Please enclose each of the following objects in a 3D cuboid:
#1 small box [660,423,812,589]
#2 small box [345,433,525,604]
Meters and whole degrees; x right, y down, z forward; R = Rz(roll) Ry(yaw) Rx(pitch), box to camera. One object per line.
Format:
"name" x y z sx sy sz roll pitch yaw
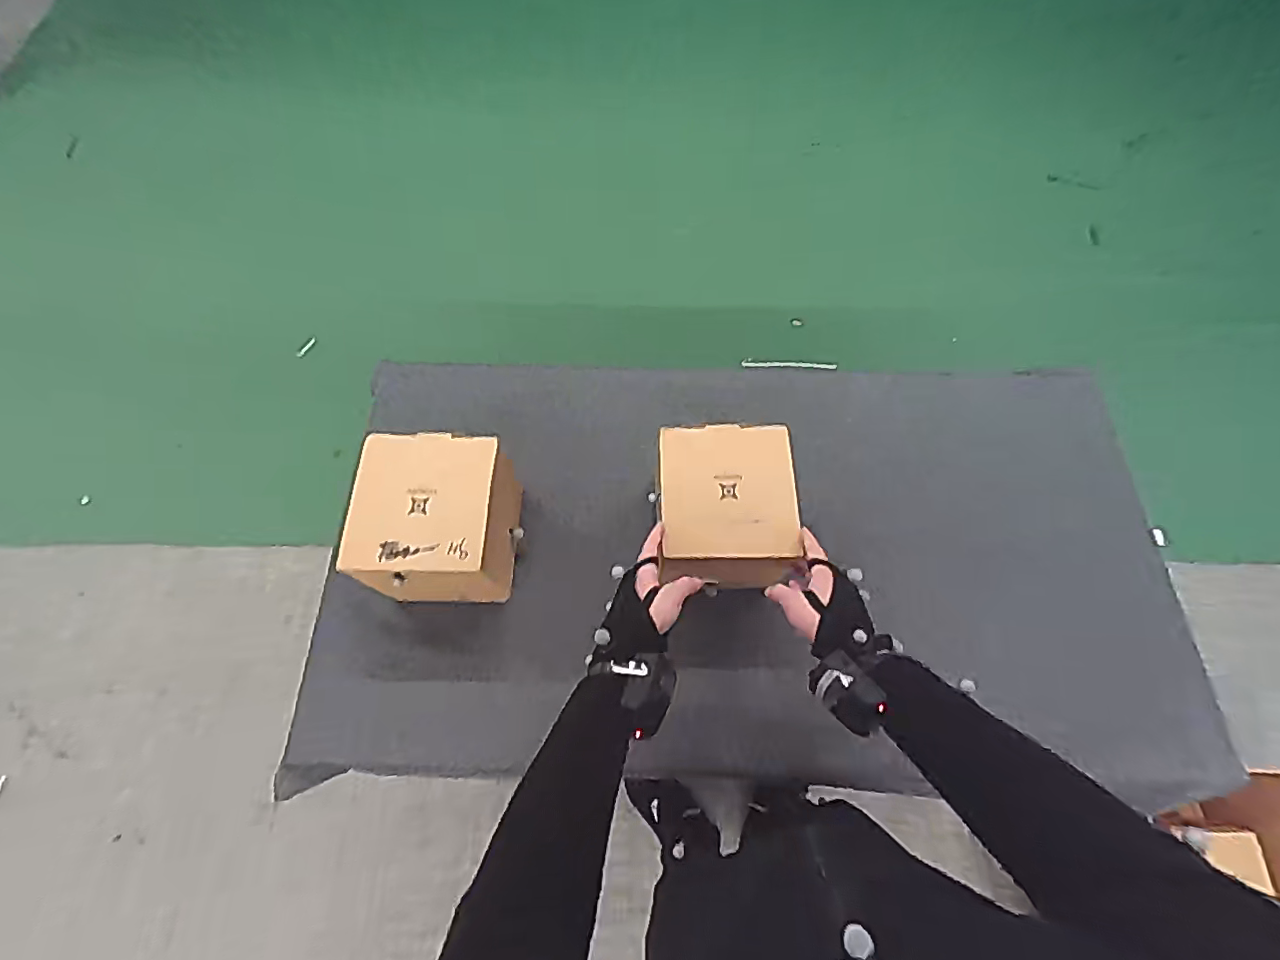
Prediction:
"small box" 0.113 0.040 0.719 0.168 0.176 0.179 -1 67 0
"small box" -0.256 0.057 0.725 0.168 0.176 0.179 3 65 0
